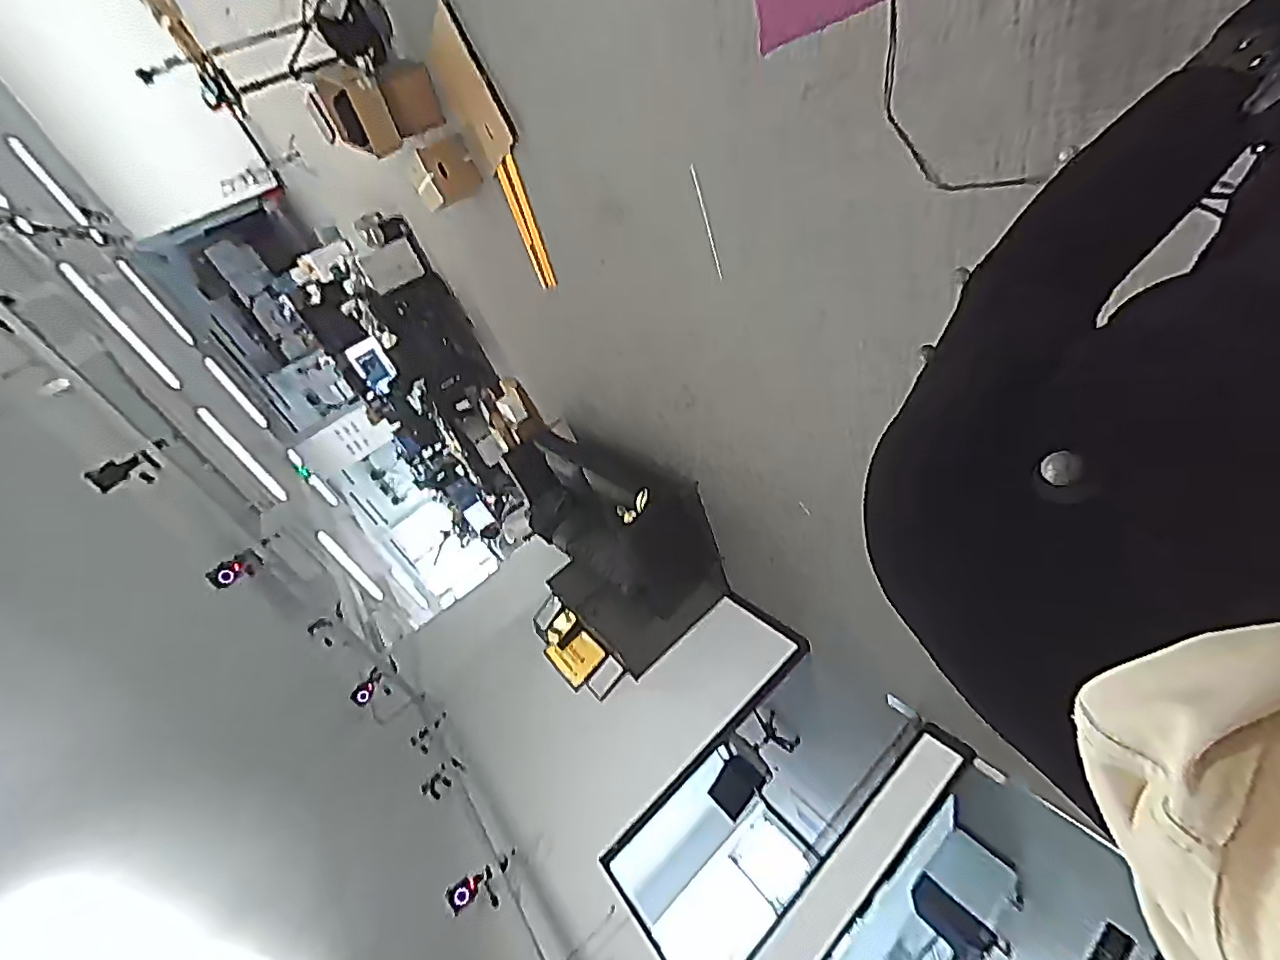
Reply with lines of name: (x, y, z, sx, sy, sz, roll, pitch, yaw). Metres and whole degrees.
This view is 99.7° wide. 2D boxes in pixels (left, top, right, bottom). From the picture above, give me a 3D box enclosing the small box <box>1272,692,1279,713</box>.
small box: (1.813, 0.545, 1.398, 0.168, 0.176, 0.179, 29, 151, 48)
